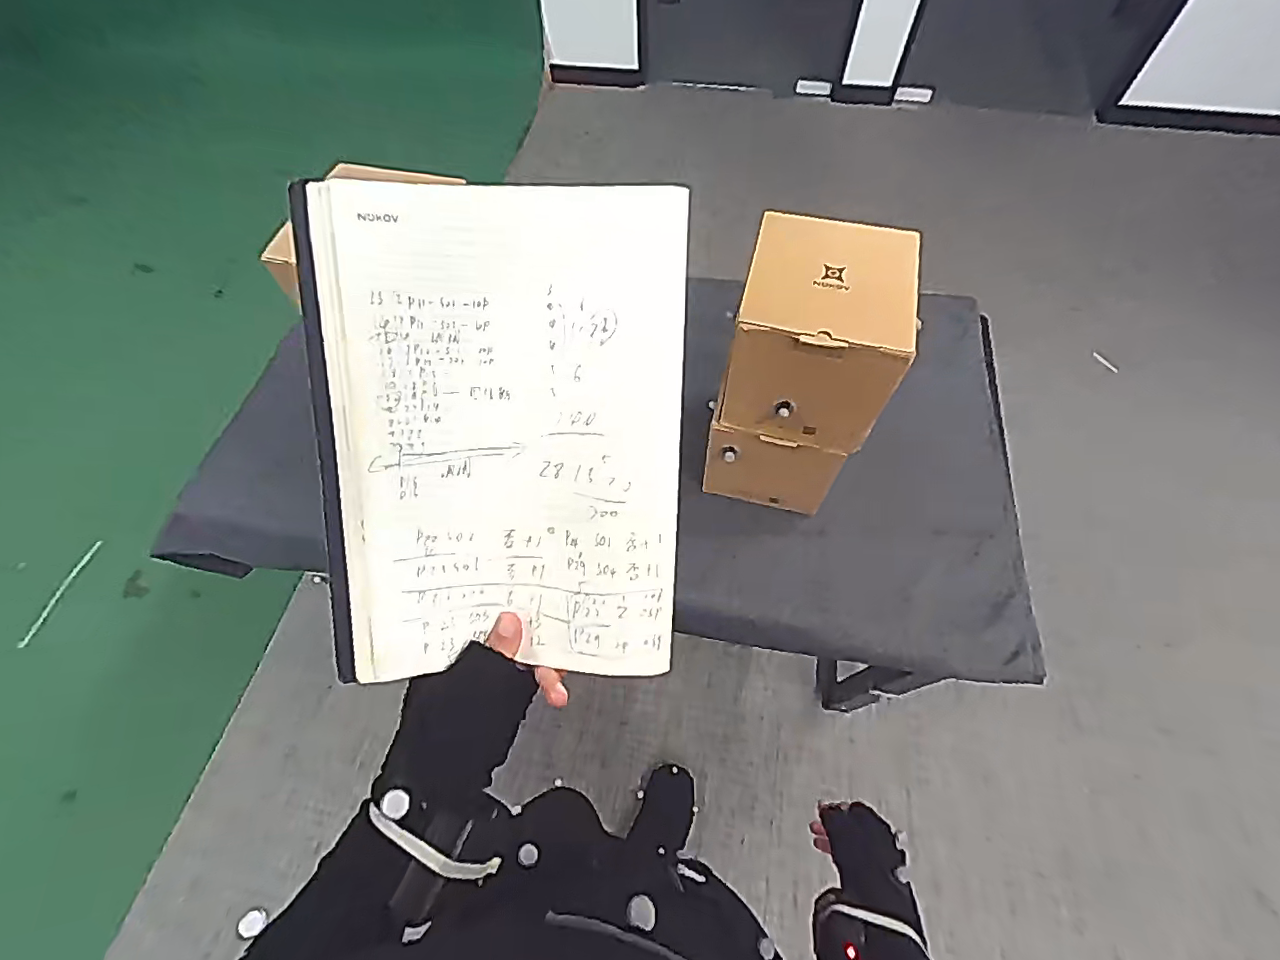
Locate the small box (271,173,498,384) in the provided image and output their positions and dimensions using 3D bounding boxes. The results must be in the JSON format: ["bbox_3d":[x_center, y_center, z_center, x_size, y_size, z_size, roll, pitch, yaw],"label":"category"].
[{"bbox_3d":[-0.294,-0.245,0.674,0.168,0.176,0.179,11,60,8],"label":"small box"}]

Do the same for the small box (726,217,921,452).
[{"bbox_3d":[0.198,-0.160,0.614,0.168,0.176,0.179,12,61,8],"label":"small box"}]

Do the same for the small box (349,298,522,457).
[{"bbox_3d":[-0.289,-0.161,0.814,0.168,0.176,0.179,10,61,7],"label":"small box"}]
